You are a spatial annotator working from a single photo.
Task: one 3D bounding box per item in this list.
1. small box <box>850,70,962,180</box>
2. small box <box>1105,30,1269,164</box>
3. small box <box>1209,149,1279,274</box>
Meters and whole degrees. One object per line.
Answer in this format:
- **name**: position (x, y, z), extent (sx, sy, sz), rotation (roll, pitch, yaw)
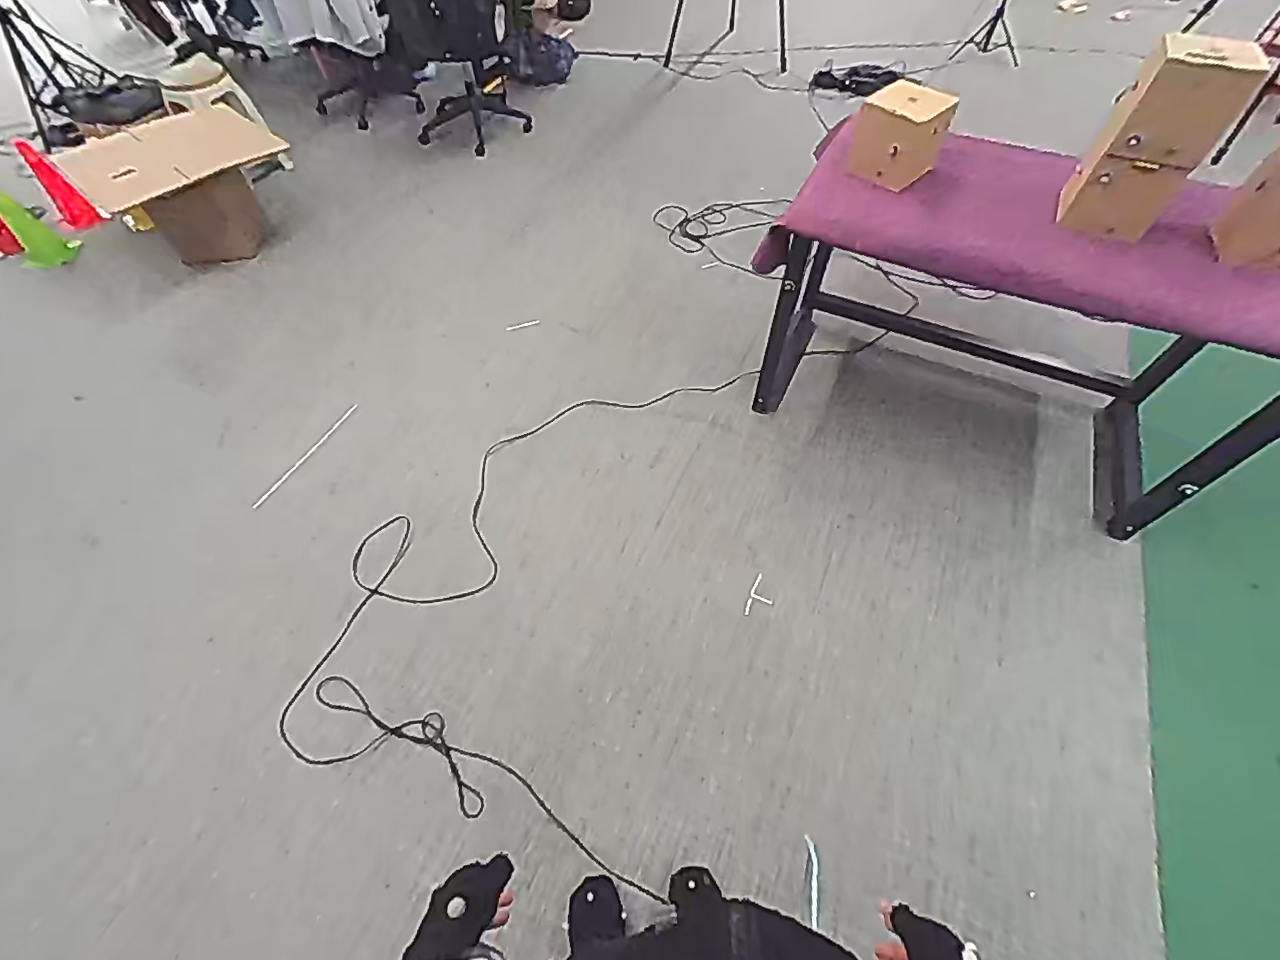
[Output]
- **small box**: position (0.653, -0.883, 1.351), extent (0.179, 0.176, 0.168), rotation (-39, 64, -23)
- **small box**: position (1.086, -0.770, 1.092), extent (0.168, 0.176, 0.179), rotation (22, 57, 15)
- **small box**: position (1.379, -0.567, 1.151), extent (0.168, 0.176, 0.179), rotation (19, 58, 14)
